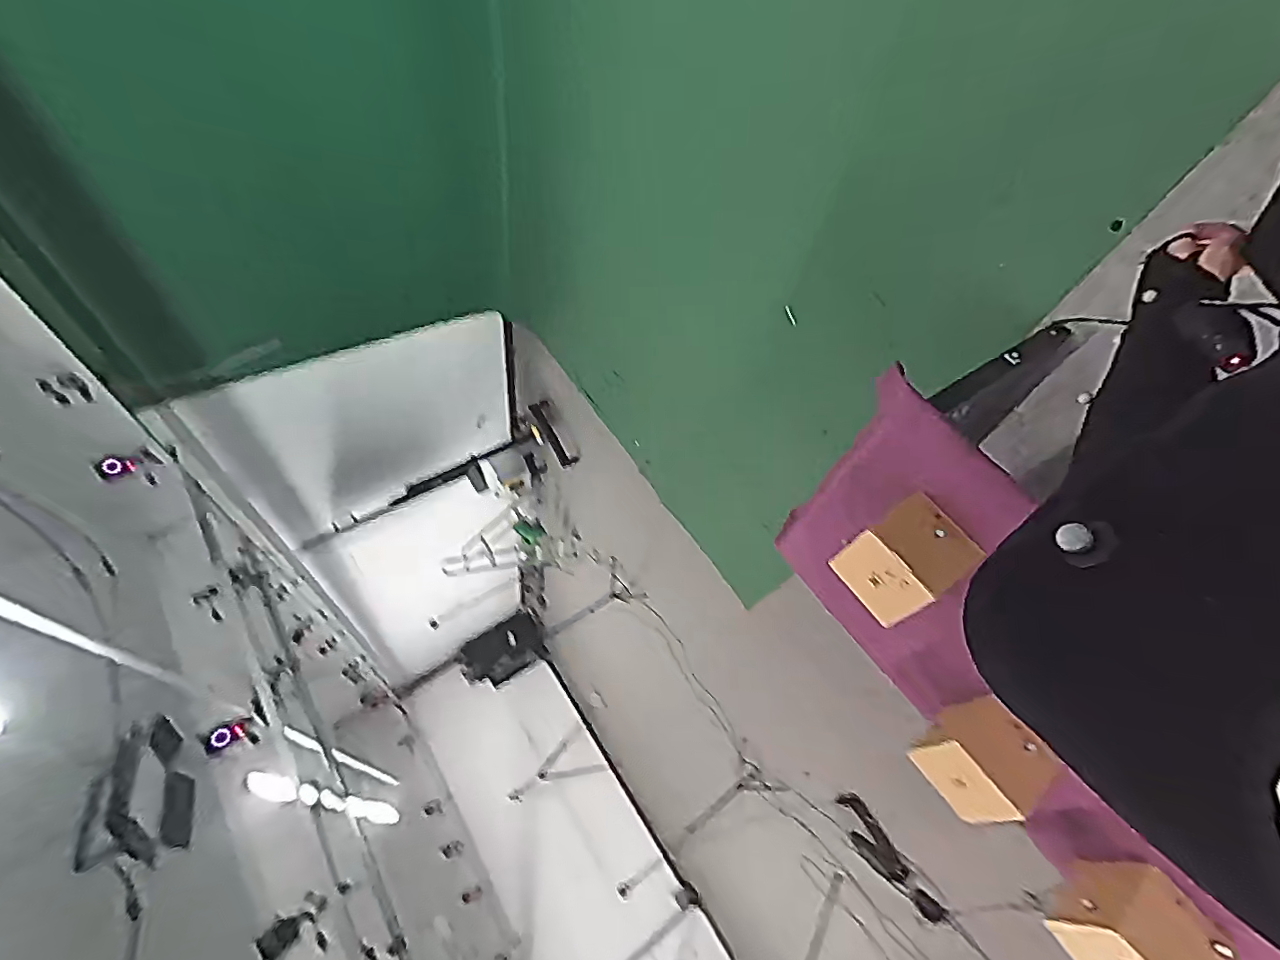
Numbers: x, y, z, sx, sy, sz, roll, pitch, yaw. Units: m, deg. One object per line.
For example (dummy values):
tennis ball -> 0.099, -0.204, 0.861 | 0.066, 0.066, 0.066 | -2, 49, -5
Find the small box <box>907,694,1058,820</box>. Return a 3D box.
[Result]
small box -> 0.719, 0.583, 1.140 | 0.168, 0.176, 0.179 | 52, 151, 22

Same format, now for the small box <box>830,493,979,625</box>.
small box -> 0.529, 0.157, 1.087 | 0.168, 0.176, 0.179 | 52, 153, 21

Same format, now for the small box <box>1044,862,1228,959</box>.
small box -> 0.921, 0.846, 1.003 | 0.168, 0.176, 0.179 | 52, 152, 24
